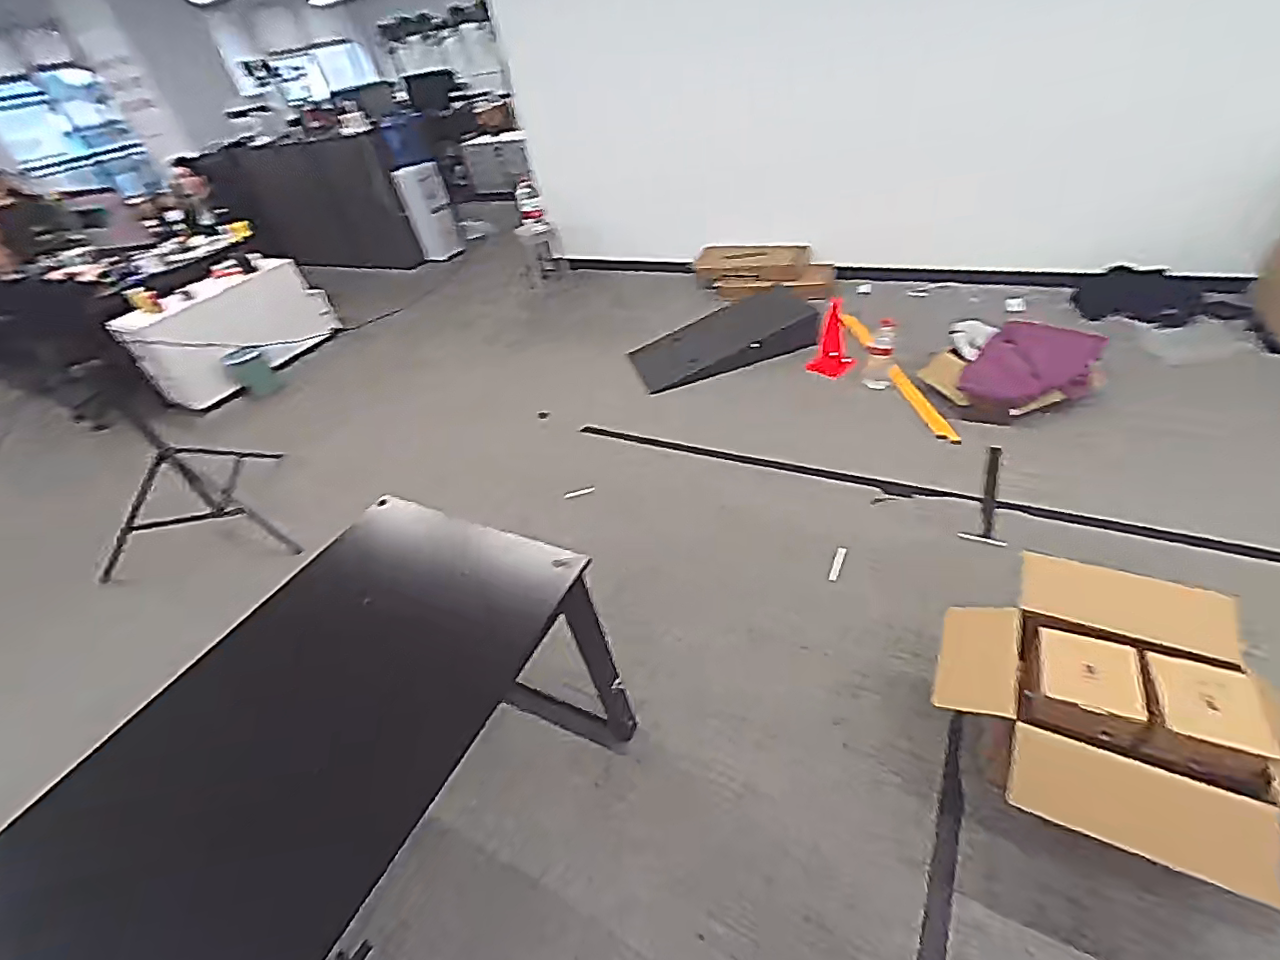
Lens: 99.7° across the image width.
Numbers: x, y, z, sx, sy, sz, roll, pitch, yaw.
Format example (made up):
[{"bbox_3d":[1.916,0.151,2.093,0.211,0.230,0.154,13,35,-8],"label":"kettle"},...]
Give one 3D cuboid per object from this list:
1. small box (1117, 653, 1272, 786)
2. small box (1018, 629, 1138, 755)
[{"bbox_3d":[1.106,0.493,1.109,0.168,0.176,0.179,11,46,19],"label":"small box"},{"bbox_3d":[0.945,0.463,1.182,0.168,0.176,0.179,9,43,26],"label":"small box"}]
